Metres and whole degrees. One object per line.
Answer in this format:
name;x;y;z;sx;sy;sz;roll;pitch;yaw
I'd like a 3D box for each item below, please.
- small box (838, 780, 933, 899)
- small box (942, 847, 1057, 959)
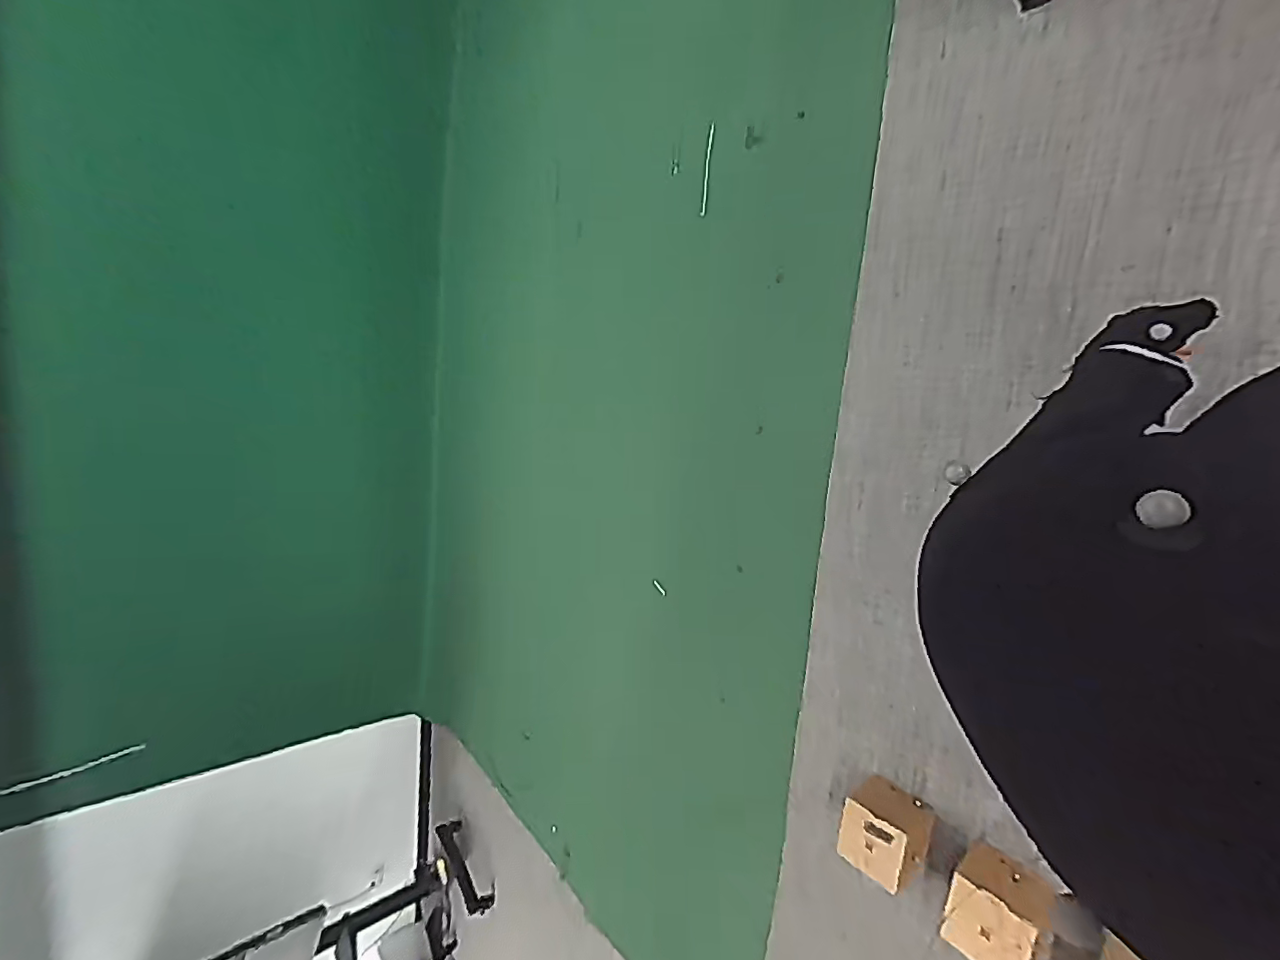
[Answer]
small box;0.661;0.948;1.448;0.168;0.176;0.179;16;103;48
small box;0.834;1.009;1.252;0.168;0.176;0.179;17;103;48
